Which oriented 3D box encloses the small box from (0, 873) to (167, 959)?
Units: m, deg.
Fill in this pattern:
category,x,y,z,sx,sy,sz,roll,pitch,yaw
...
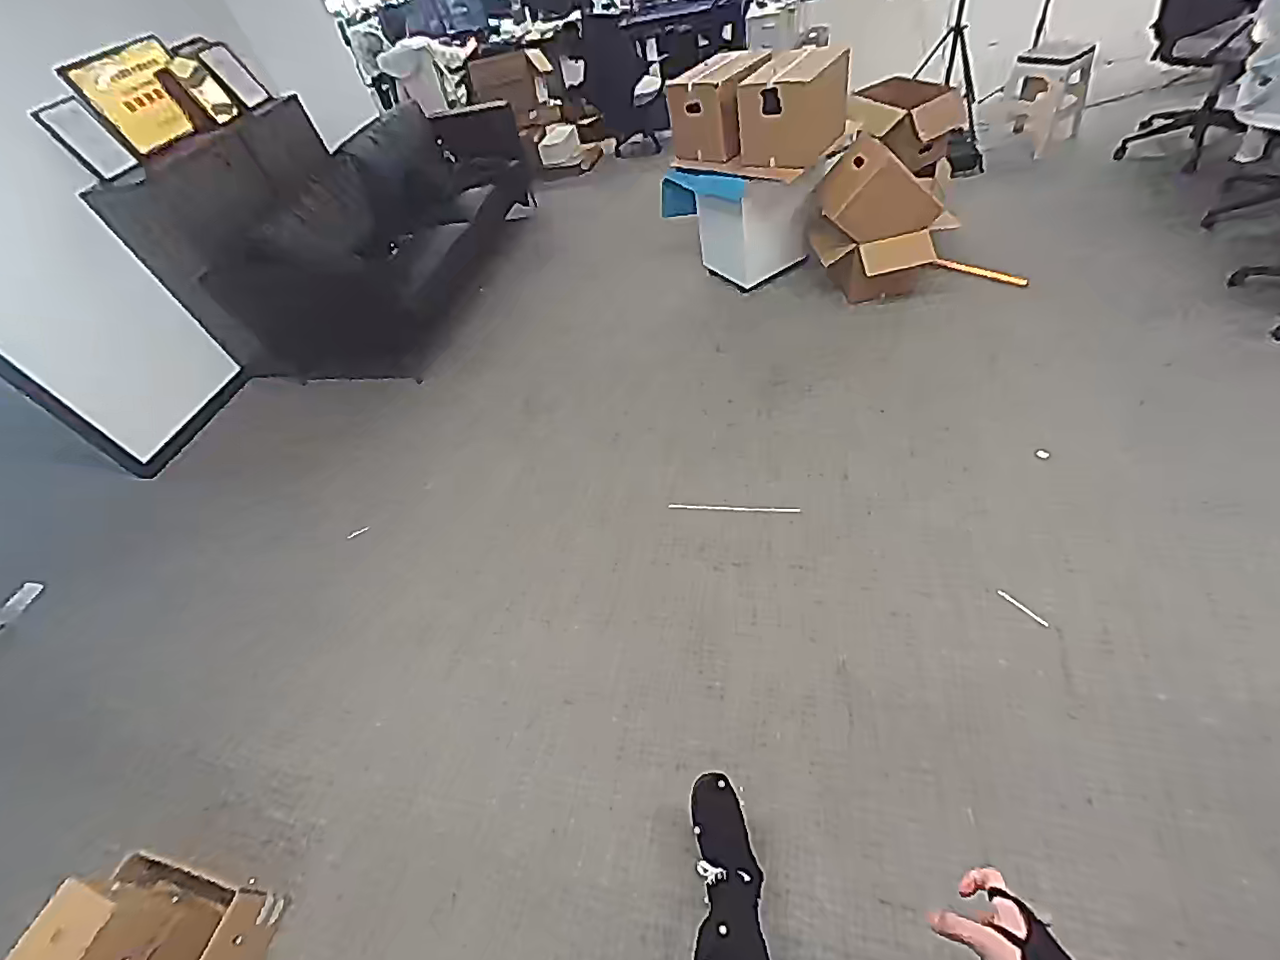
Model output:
category,x,y,z,sx,sy,sz,roll,pitch,yaw
small box,-1.219,1.001,1.189,0.179,0.176,0.168,8,52,18
